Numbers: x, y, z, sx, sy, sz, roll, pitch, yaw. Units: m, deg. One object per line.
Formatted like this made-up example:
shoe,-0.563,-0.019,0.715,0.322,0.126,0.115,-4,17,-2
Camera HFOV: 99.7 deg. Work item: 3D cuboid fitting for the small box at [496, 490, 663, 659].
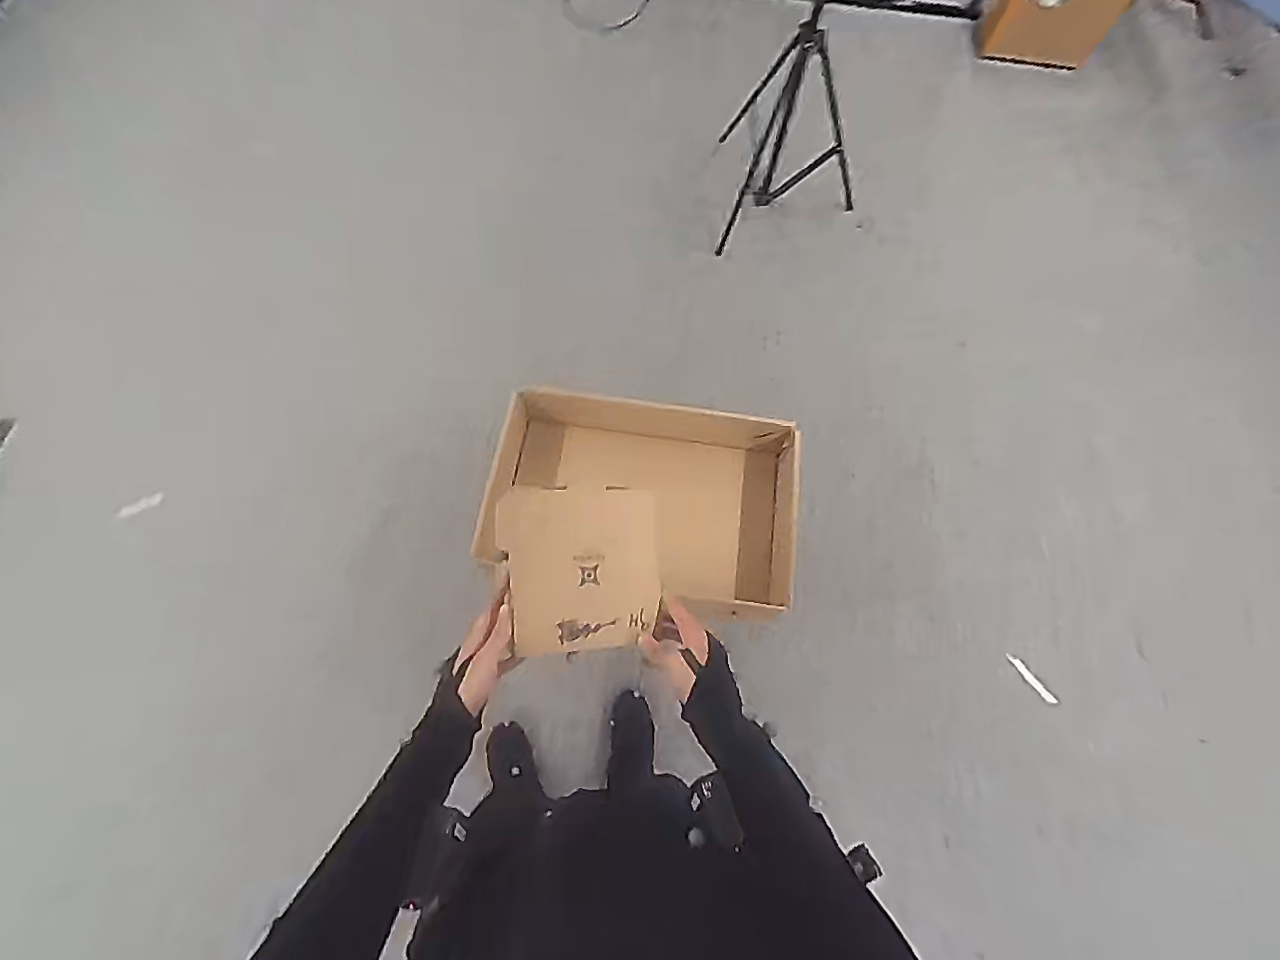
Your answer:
small box,-0.082,0.108,0.660,0.168,0.176,0.179,1,83,-21
